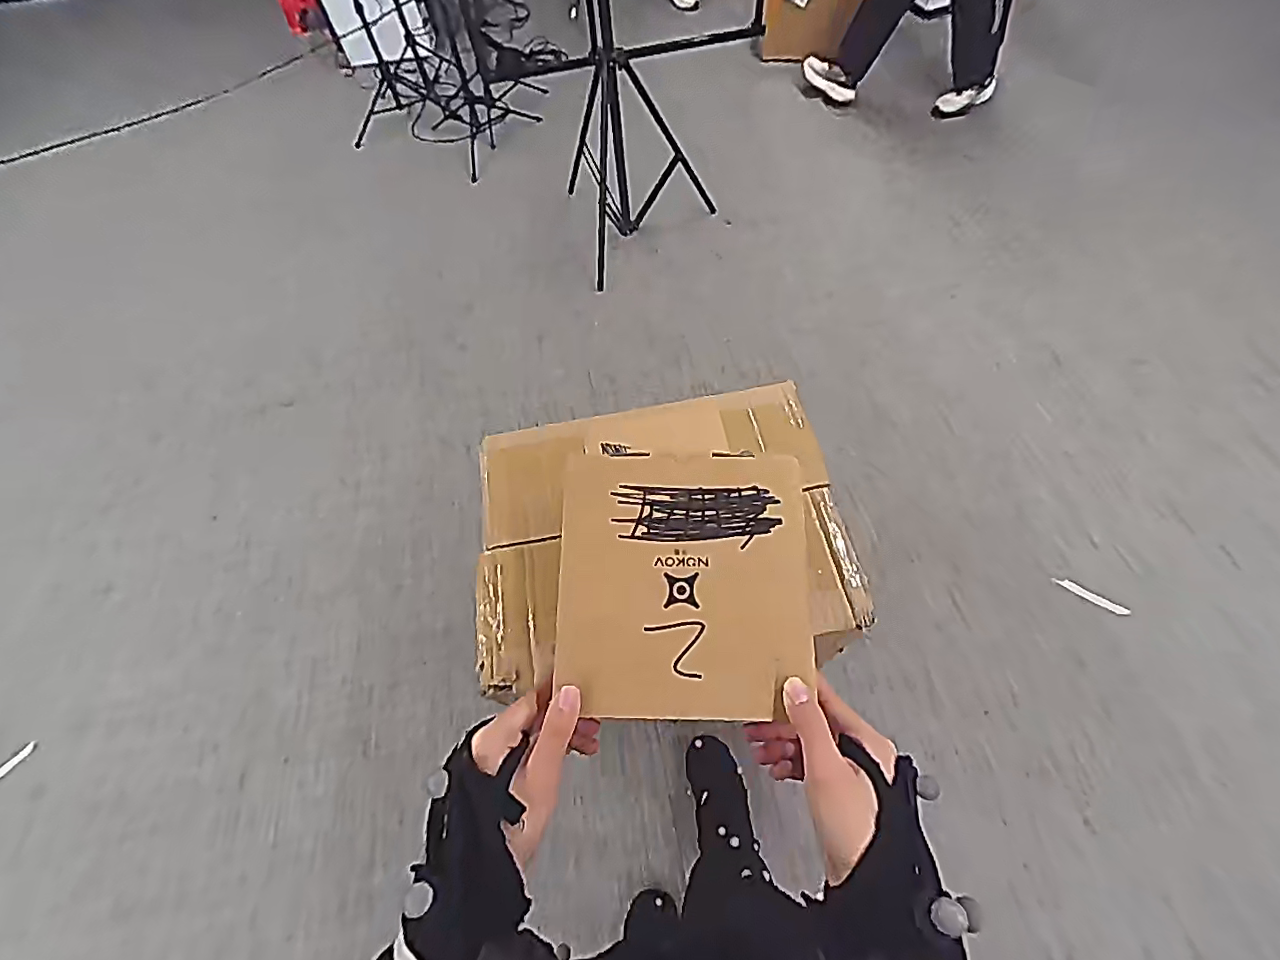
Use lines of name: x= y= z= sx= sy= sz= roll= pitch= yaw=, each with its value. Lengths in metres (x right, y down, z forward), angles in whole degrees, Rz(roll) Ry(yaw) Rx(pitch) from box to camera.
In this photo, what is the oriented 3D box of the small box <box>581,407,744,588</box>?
small box: x=0.028 y=0.030 z=0.709 sx=0.179 sy=0.176 sz=0.168 roll=-9 pitch=60 yaw=-1
